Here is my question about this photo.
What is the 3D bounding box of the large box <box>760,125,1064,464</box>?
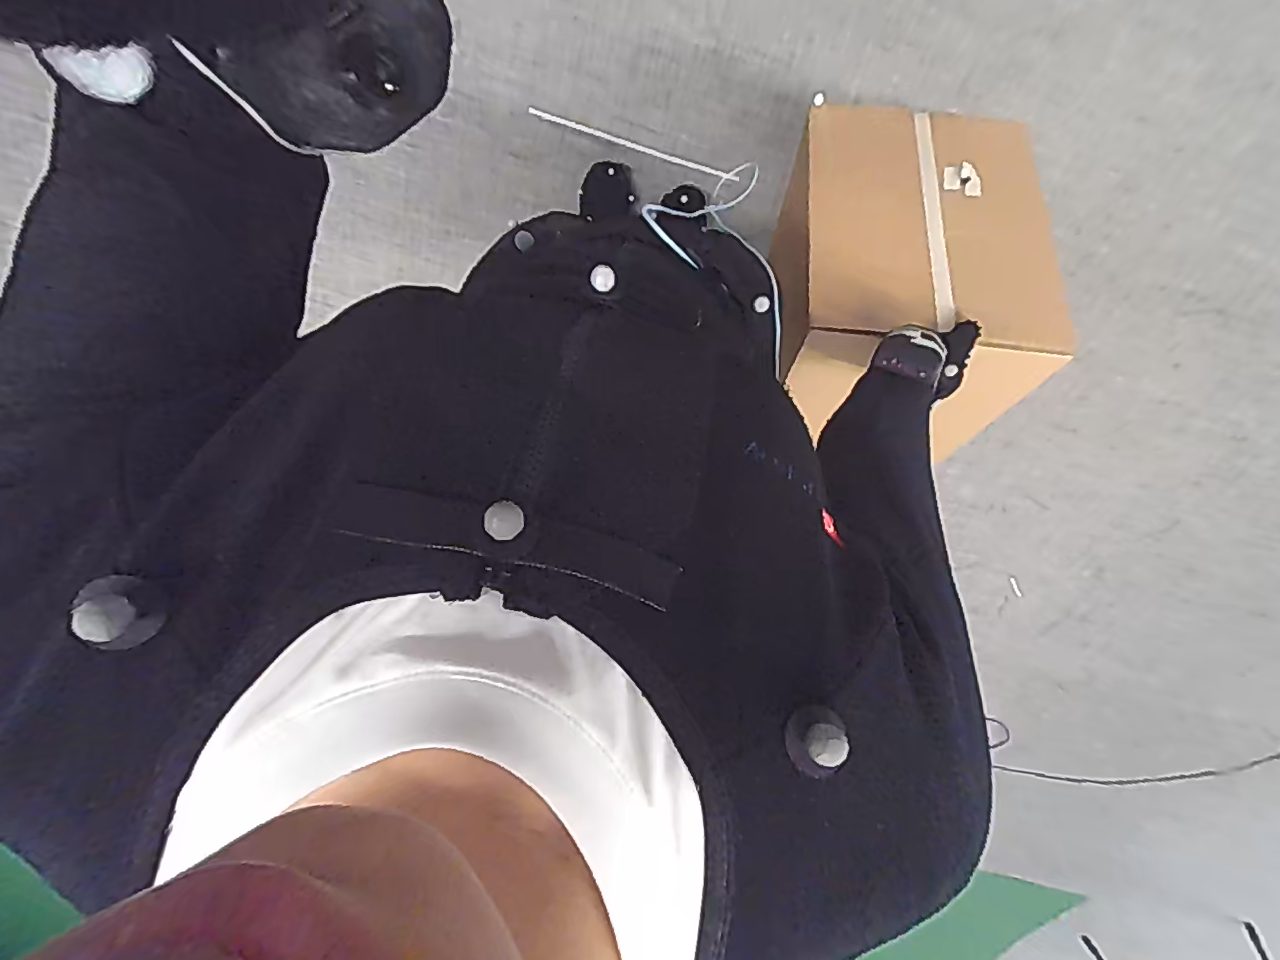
[{"bbox_3d":[0.378,-0.275,0.864,0.320,0.408,0.320,7,157,1],"label":"large box"}]
